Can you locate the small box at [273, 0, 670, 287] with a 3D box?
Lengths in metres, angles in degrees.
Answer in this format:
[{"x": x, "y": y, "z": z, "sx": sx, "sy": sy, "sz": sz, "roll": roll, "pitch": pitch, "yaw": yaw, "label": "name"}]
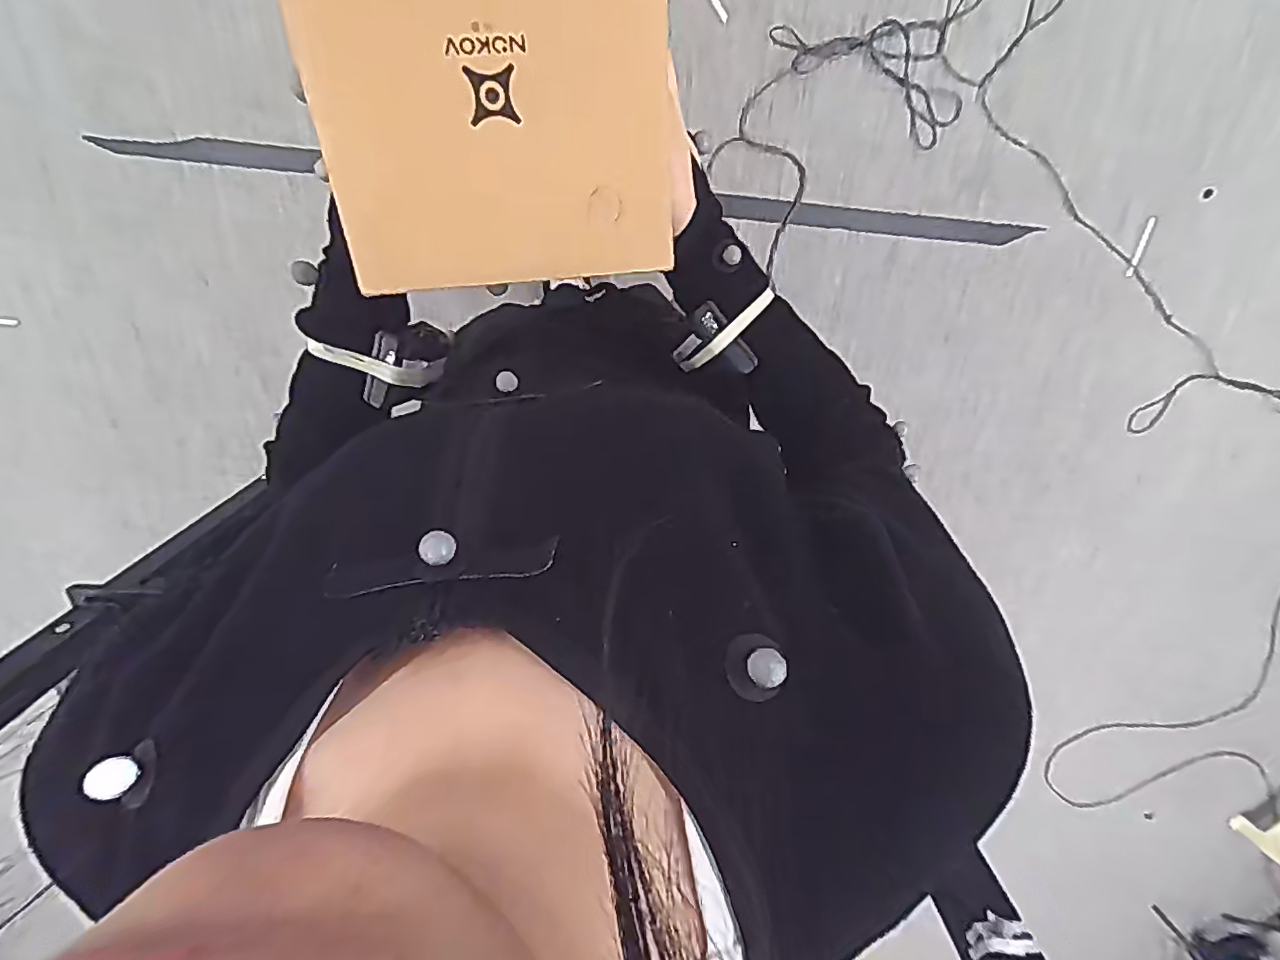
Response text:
[{"x": -0.078, "y": -0.219, "z": 0.310, "sx": 0.168, "sy": 0.176, "sz": 0.179, "roll": -7, "pitch": 117, "yaw": -5, "label": "small box"}]
